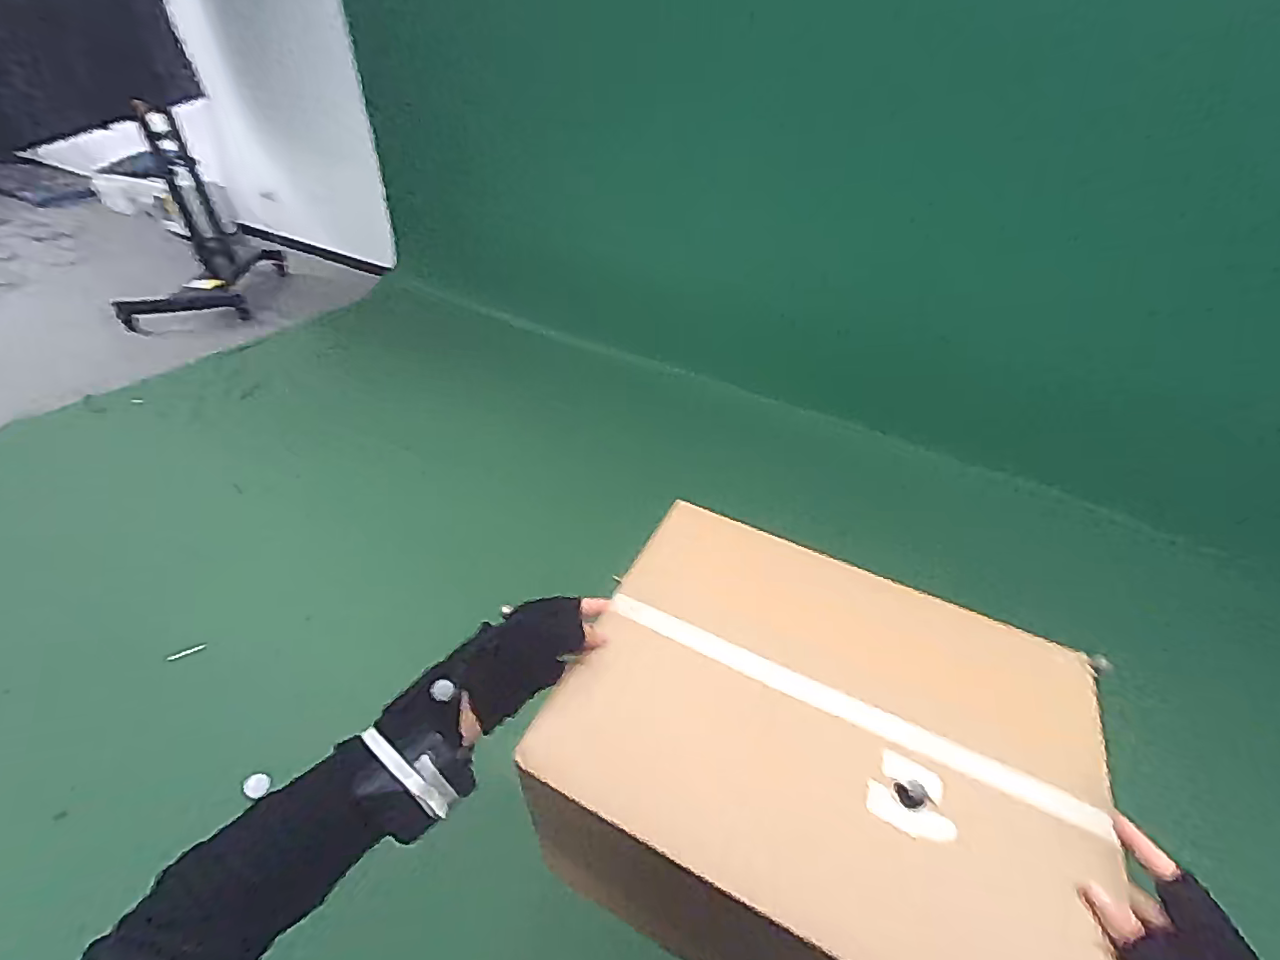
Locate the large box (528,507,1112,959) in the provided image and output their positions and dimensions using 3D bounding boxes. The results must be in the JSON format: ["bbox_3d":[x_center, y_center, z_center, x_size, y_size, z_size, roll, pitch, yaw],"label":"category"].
[{"bbox_3d":[0.146,0.290,0.554,0.408,0.320,0.320,20,46,17],"label":"large box"}]
